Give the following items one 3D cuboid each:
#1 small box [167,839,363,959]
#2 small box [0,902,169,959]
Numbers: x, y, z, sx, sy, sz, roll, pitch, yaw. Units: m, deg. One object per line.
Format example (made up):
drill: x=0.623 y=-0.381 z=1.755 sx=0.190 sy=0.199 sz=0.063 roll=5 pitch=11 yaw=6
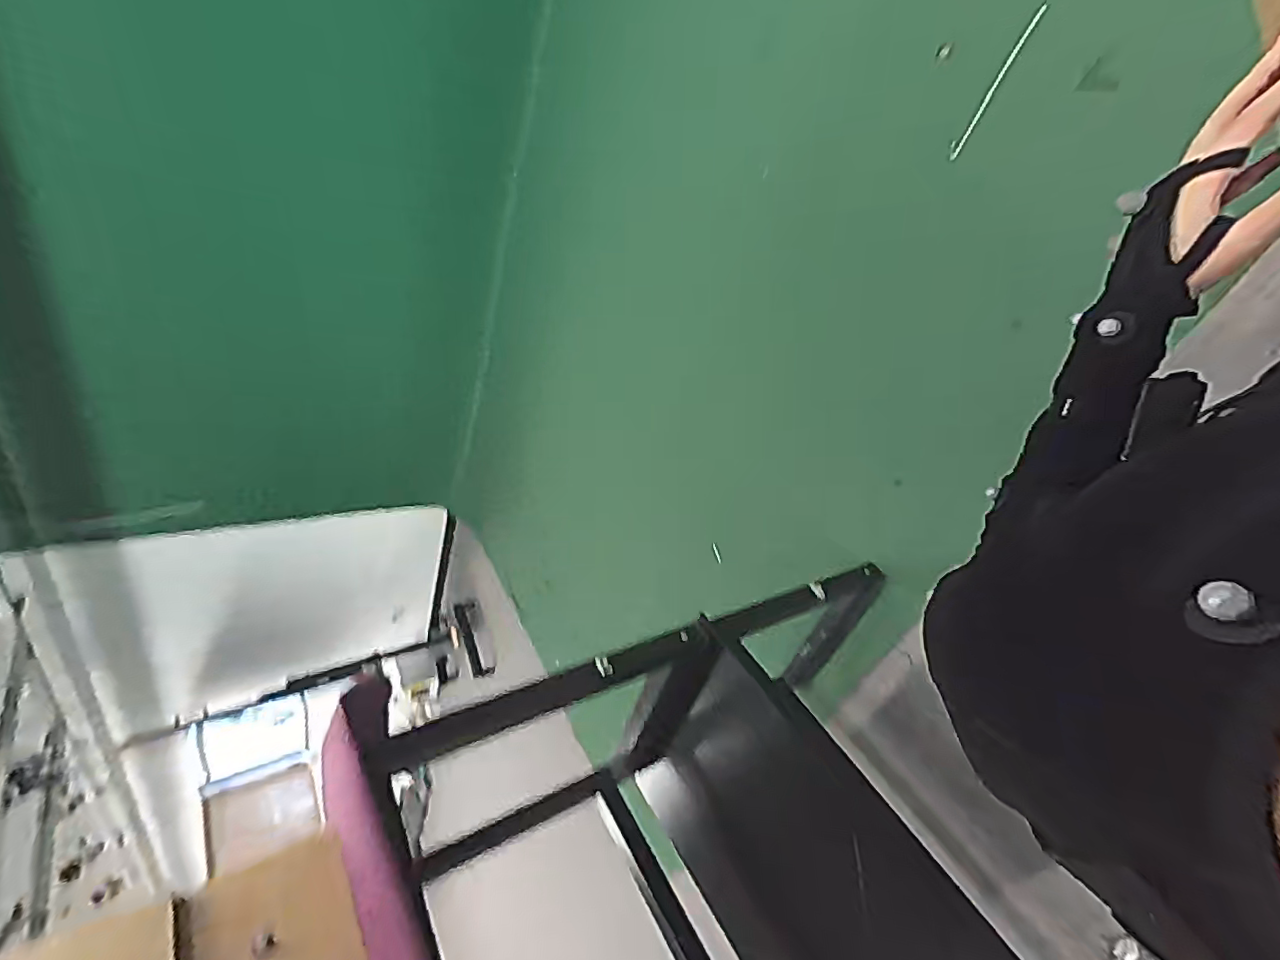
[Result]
small box: x=-0.449 y=0.576 z=0.653 sx=0.179 sy=0.176 sz=0.168 roll=47 pitch=129 yaw=36
small box: x=-0.572 y=0.572 z=0.541 sx=0.179 sy=0.176 sz=0.168 roll=47 pitch=130 yaw=37
